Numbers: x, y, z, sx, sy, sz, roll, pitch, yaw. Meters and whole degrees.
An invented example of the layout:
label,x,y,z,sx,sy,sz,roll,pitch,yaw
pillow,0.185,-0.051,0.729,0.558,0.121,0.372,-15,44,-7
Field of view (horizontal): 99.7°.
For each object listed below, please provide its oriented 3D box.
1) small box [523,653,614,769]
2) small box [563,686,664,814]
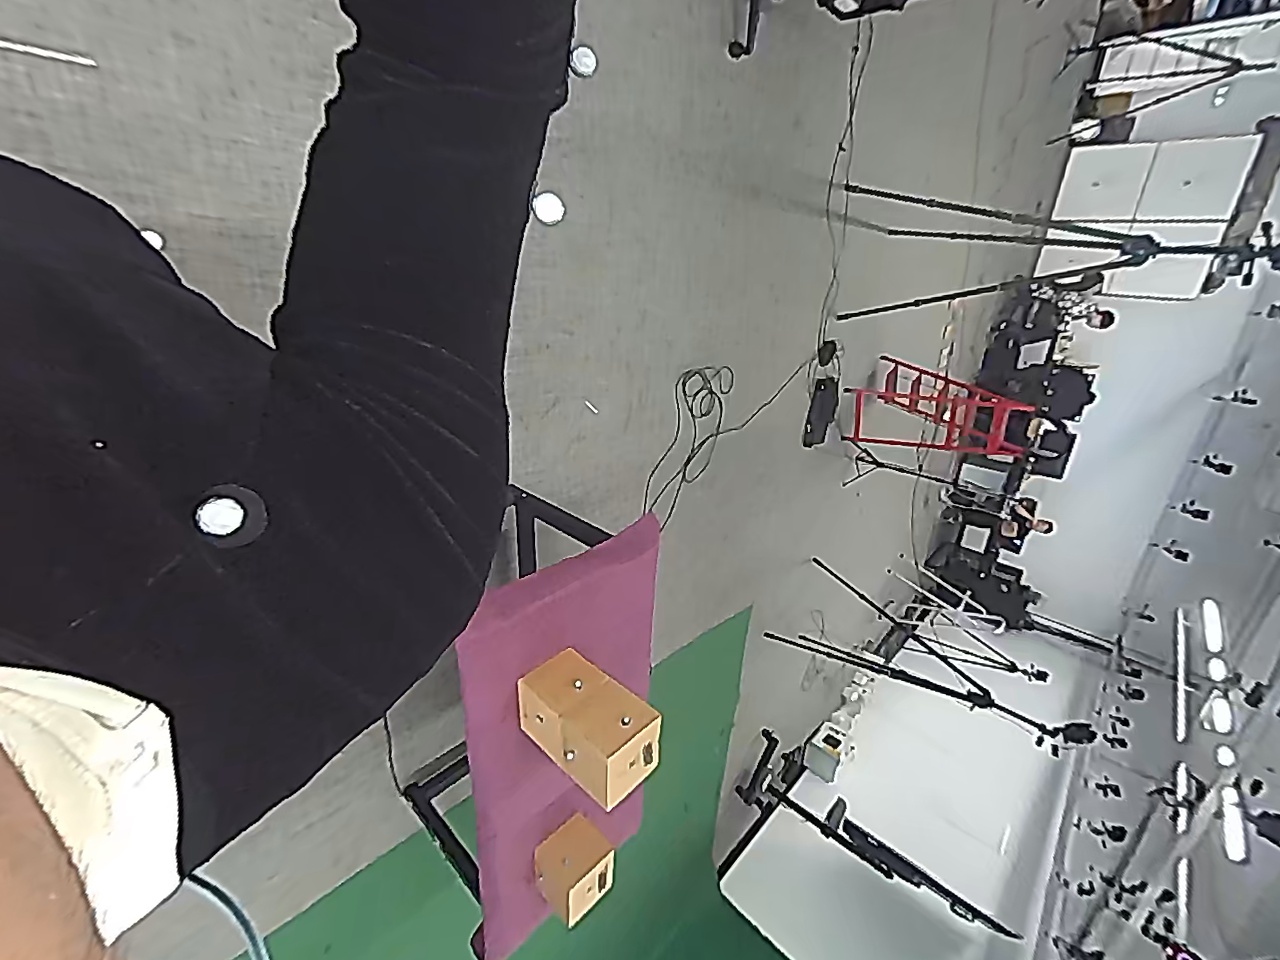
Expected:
label,x,y,z,sx,sy,sz,roll,pitch,yaw
small box,-0.185,0.581,1.382,0.179,0.176,0.168,-22,122,-43
small box,-0.064,0.626,1.281,0.179,0.176,0.168,-20,120,-43
